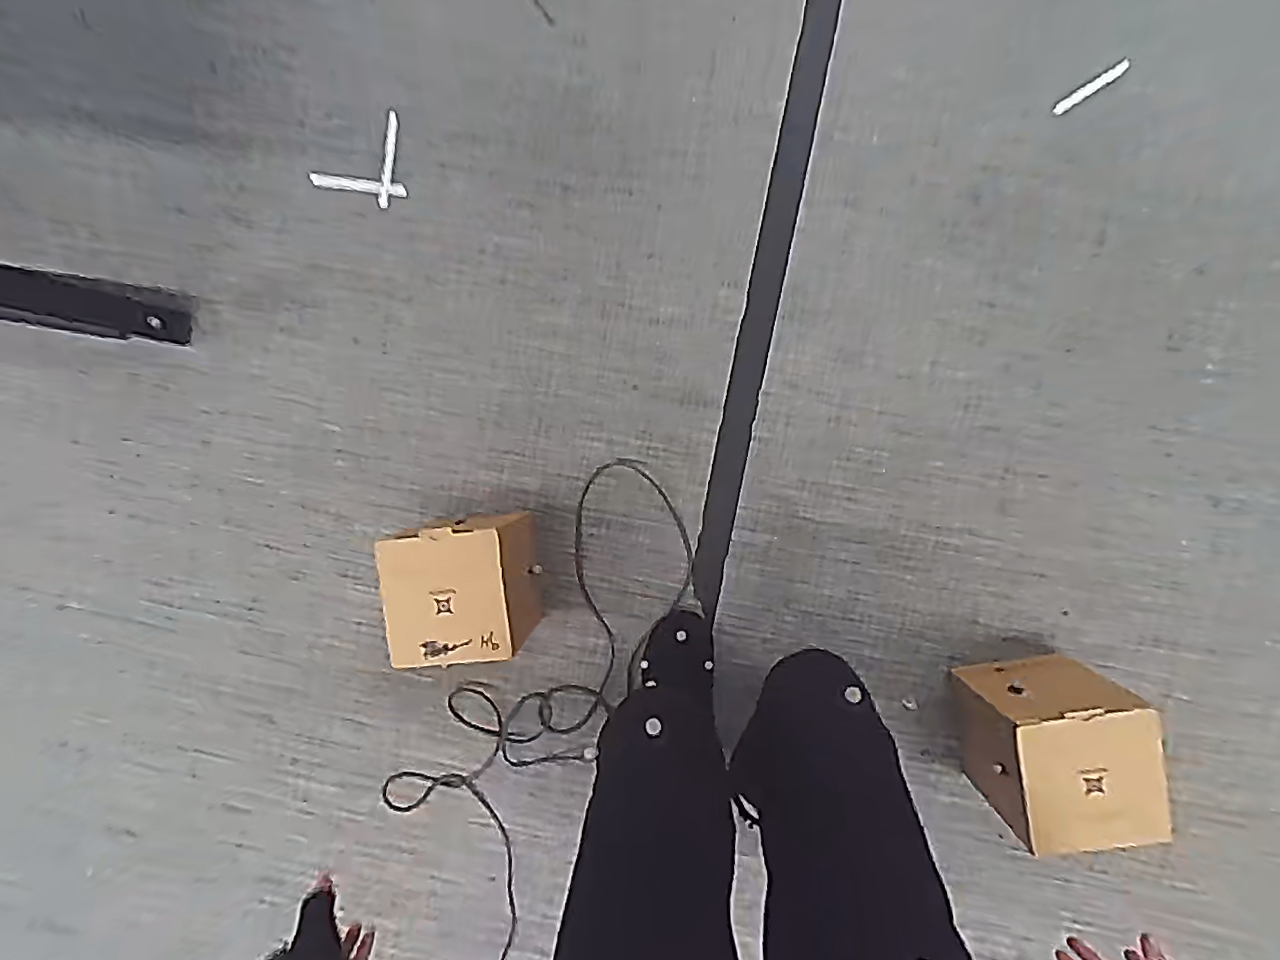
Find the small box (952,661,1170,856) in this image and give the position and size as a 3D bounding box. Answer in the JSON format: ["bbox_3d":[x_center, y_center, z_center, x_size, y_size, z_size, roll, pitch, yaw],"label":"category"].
[{"bbox_3d":[0.554,0.363,0.738,0.168,0.176,0.179,-10,94,6],"label":"small box"}]

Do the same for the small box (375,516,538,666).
[{"bbox_3d":[-0.252,0.147,0.777,0.168,0.176,0.179,-5,92,4],"label":"small box"}]
